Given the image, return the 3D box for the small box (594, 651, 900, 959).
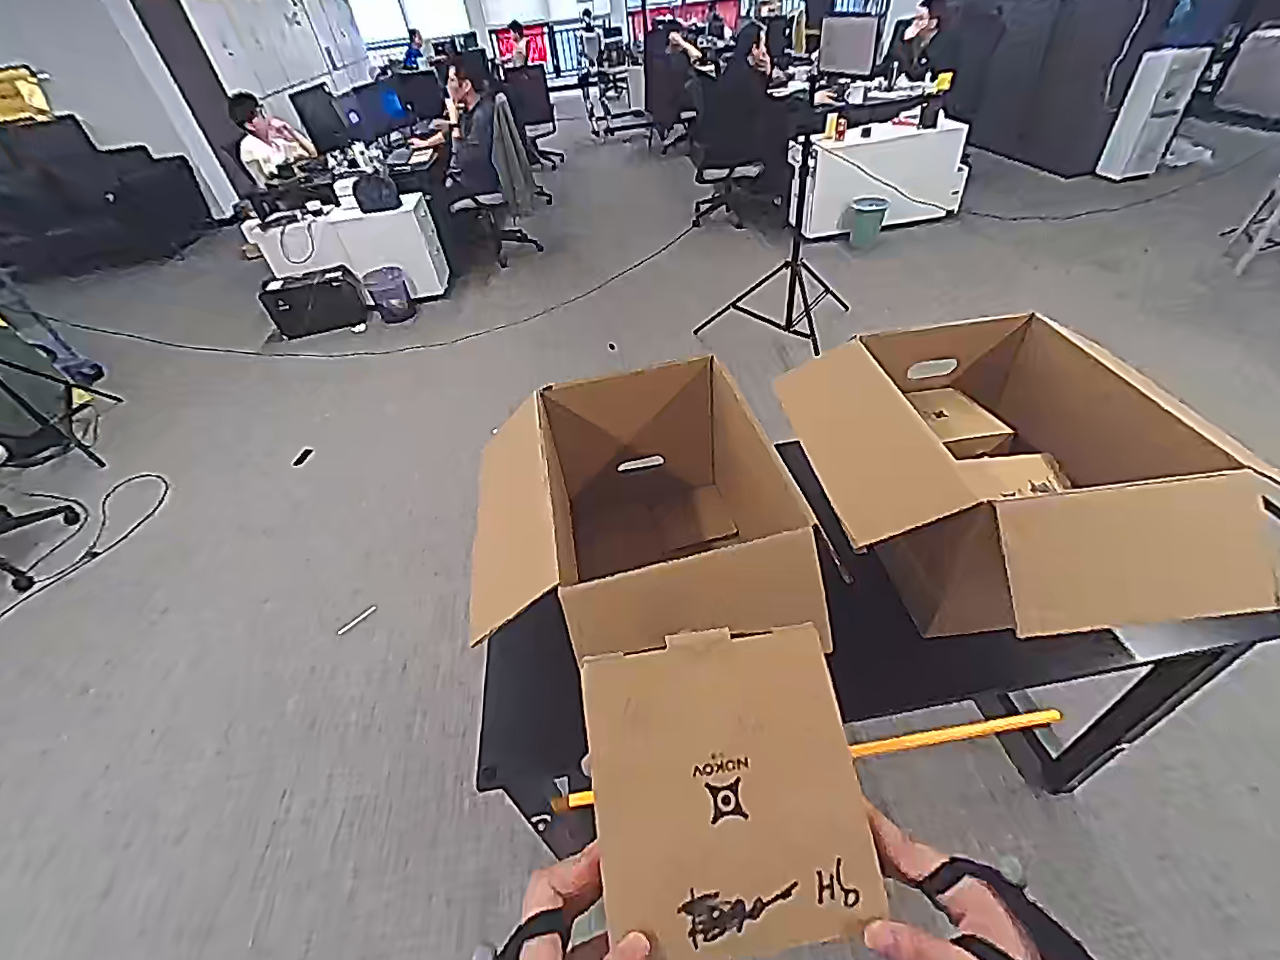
[{"bbox_3d":[0.059,0.238,0.413,0.168,0.176,0.179,-8,69,-3],"label":"small box"}]
